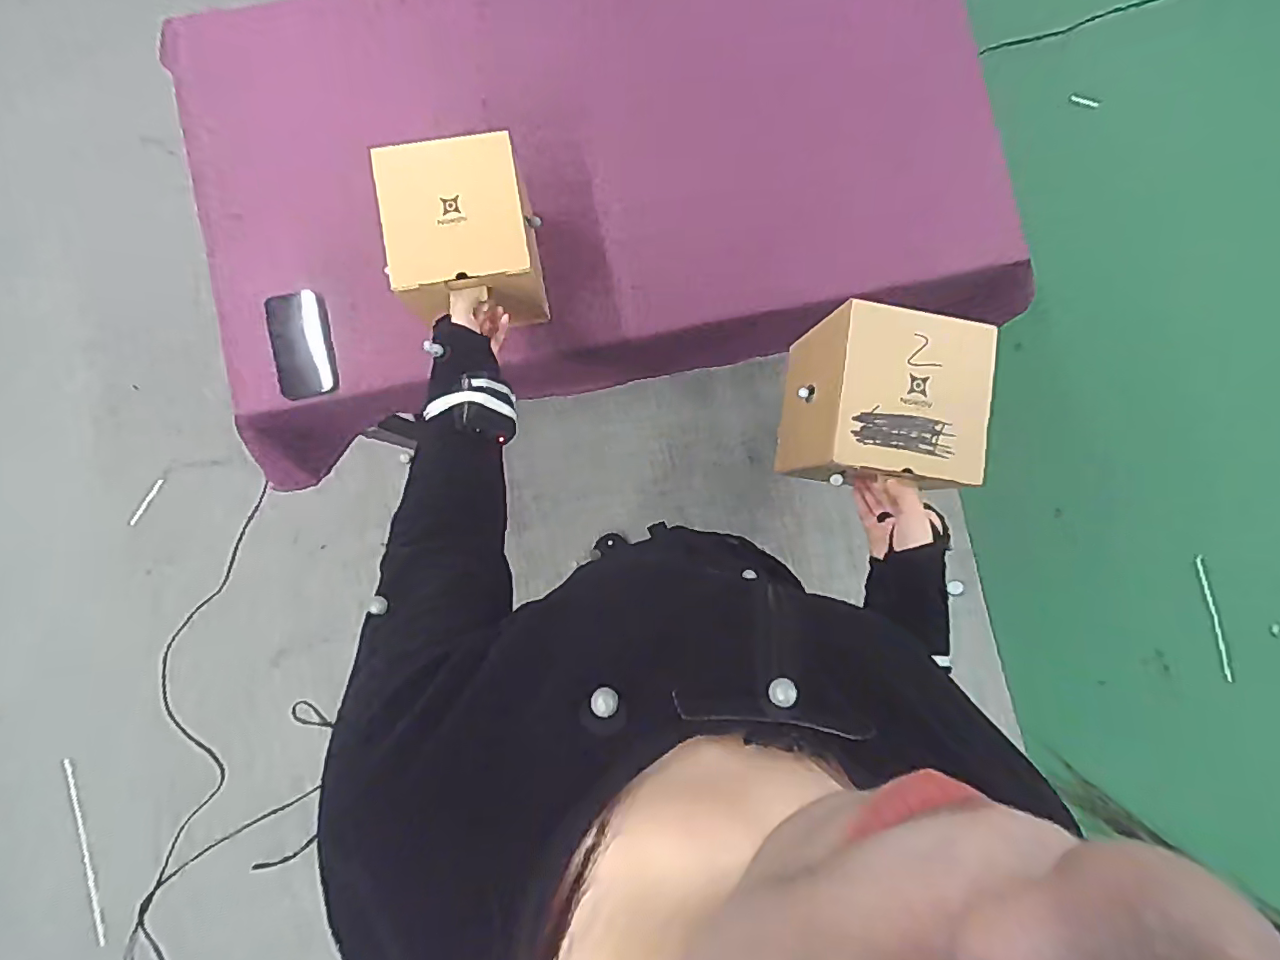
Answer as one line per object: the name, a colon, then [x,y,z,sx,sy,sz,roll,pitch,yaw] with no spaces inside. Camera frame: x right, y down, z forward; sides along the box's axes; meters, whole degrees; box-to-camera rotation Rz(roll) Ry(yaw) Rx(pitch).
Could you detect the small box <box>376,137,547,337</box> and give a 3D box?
small box: [-0.223,-0.308,0.715,0.168,0.176,0.179,-9,87,-4]
